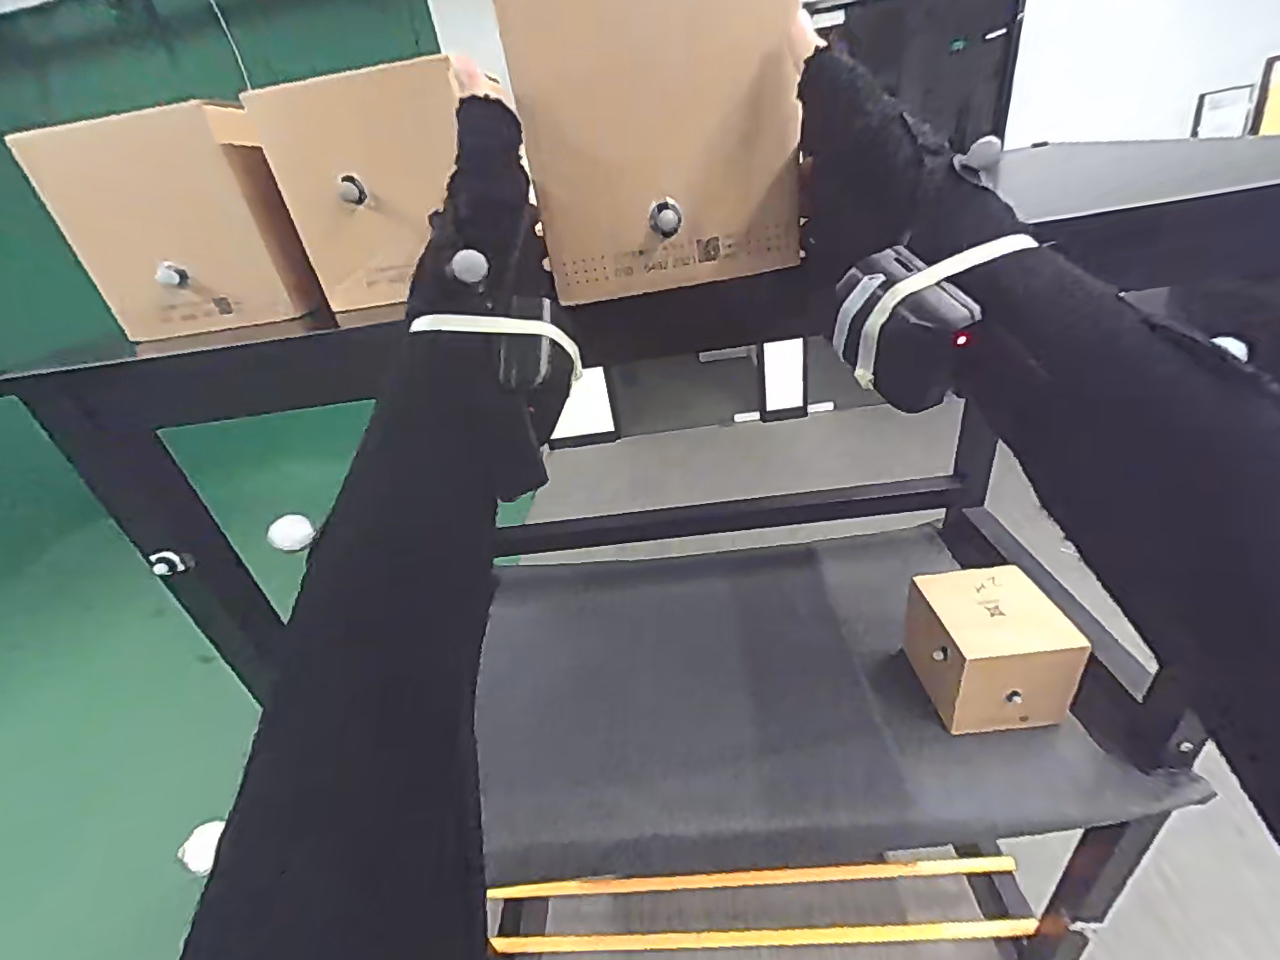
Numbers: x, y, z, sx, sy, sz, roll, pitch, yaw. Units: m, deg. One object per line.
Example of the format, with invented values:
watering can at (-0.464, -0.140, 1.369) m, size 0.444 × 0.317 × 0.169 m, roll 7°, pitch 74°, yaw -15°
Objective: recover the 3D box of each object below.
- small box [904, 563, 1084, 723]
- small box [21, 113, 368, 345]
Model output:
small box at (0.535, 0.258, 0.847) m, size 0.168 × 0.176 × 0.179 m, roll -8°, pitch 29°, yaw 4°
small box at (-0.401, -0.245, 0.534) m, size 0.168 × 0.176 × 0.179 m, roll -7°, pitch 31°, yaw 4°
